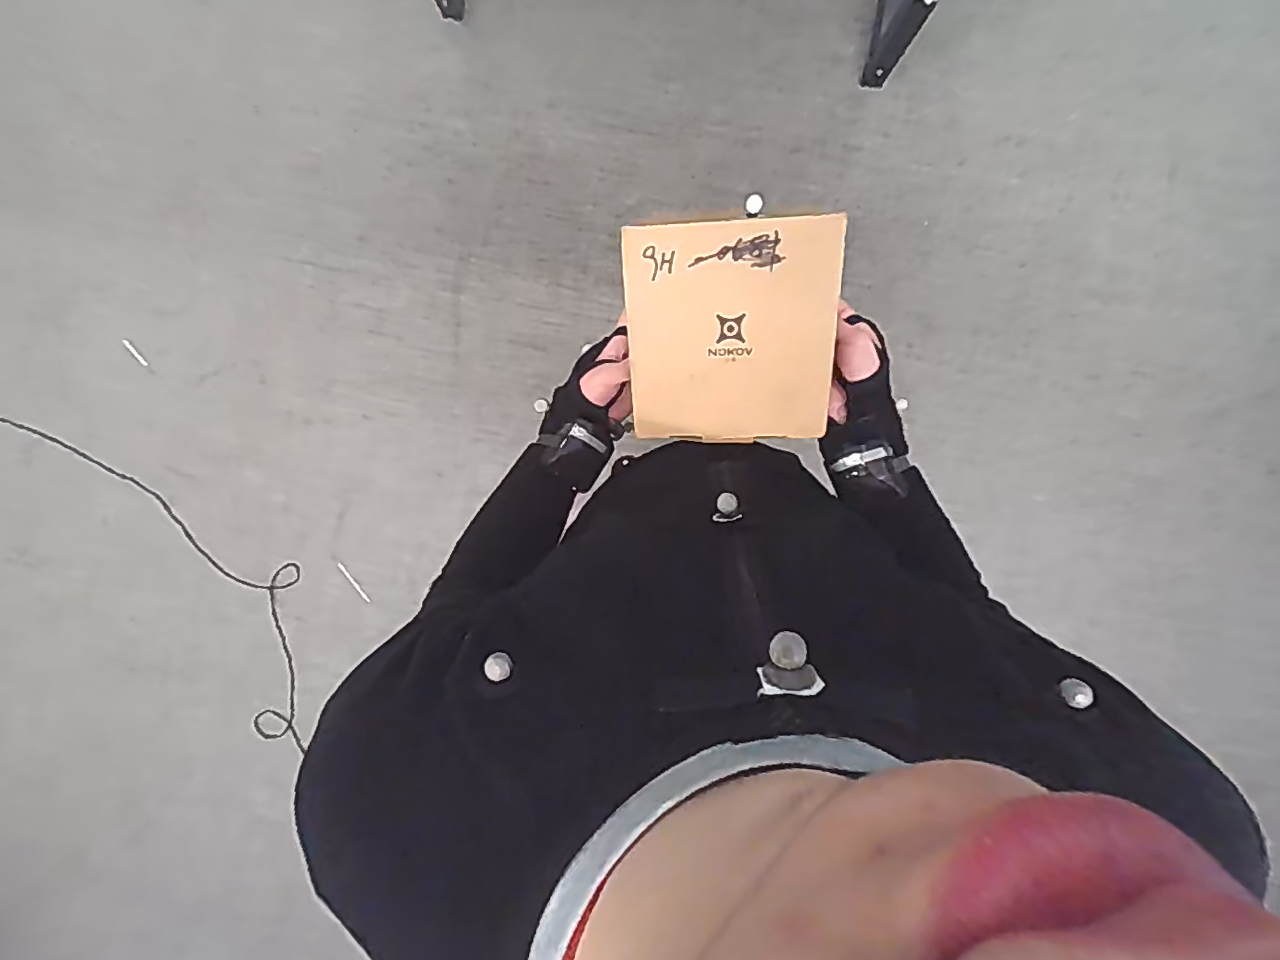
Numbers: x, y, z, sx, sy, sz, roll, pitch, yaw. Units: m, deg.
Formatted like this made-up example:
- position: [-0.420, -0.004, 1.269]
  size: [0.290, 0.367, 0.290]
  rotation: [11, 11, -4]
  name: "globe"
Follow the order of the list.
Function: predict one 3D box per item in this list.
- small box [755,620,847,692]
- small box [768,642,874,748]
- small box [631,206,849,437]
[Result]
- position: [0.452, 0.524, 1.548]
  size: [0.179, 0.176, 0.168]
  rotation: [21, 94, -2]
  name: "small box"
- position: [0.454, 0.540, 1.385]
  size: [0.179, 0.176, 0.168]
  rotation: [23, 94, -2]
  name: "small box"
- position: [0.086, -0.155, 0.516]
  size: [0.168, 0.176, 0.179]
  rotation: [0, 120, 7]
  name: "small box"
